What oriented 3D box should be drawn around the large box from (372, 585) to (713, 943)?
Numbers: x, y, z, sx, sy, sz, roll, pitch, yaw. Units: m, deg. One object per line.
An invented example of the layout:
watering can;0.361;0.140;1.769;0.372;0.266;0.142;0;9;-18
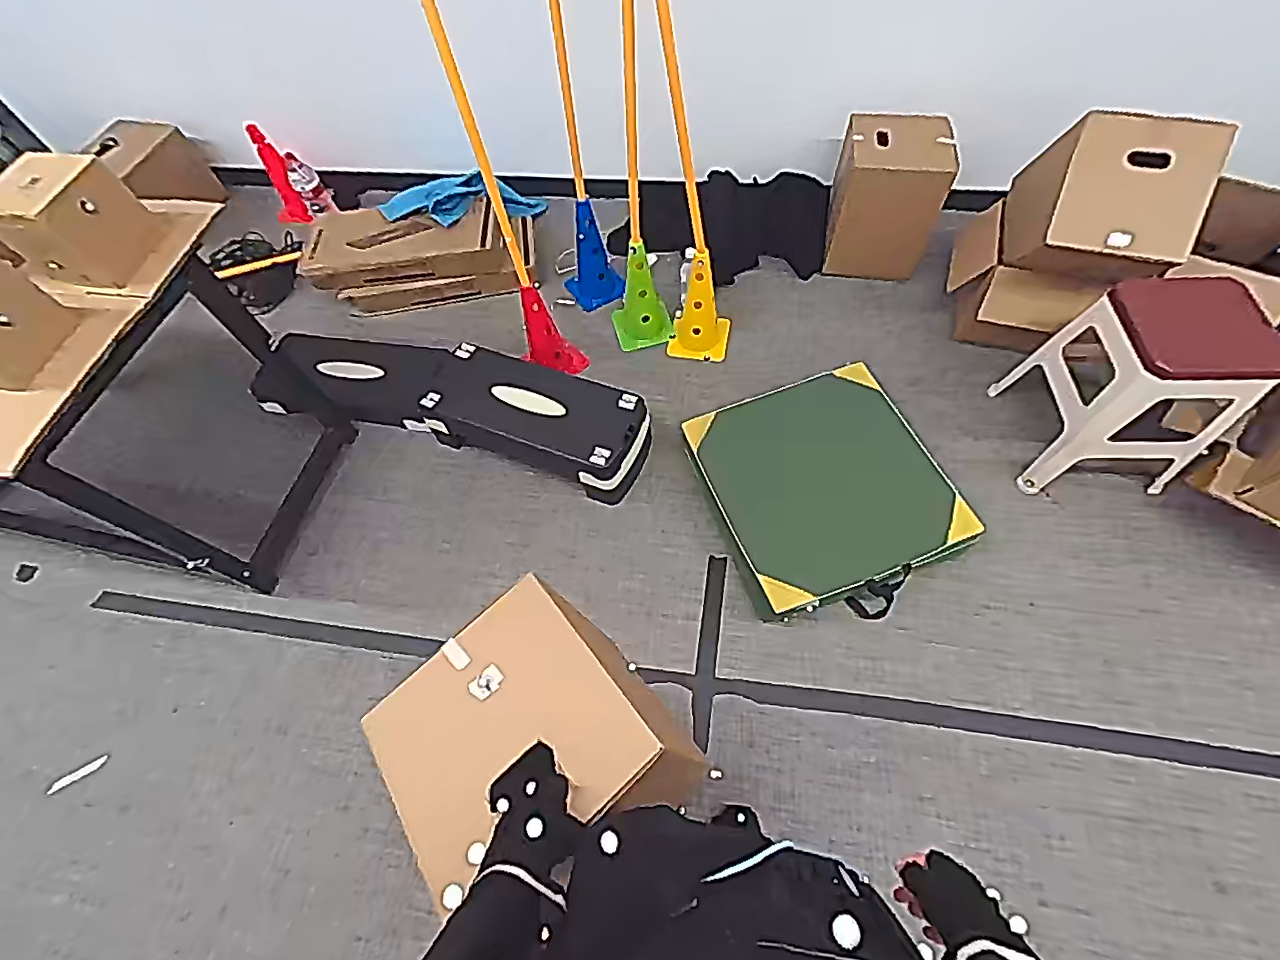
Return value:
large box;-0.129;0.427;0.865;0.320;0.408;0.320;-40;56;-7
